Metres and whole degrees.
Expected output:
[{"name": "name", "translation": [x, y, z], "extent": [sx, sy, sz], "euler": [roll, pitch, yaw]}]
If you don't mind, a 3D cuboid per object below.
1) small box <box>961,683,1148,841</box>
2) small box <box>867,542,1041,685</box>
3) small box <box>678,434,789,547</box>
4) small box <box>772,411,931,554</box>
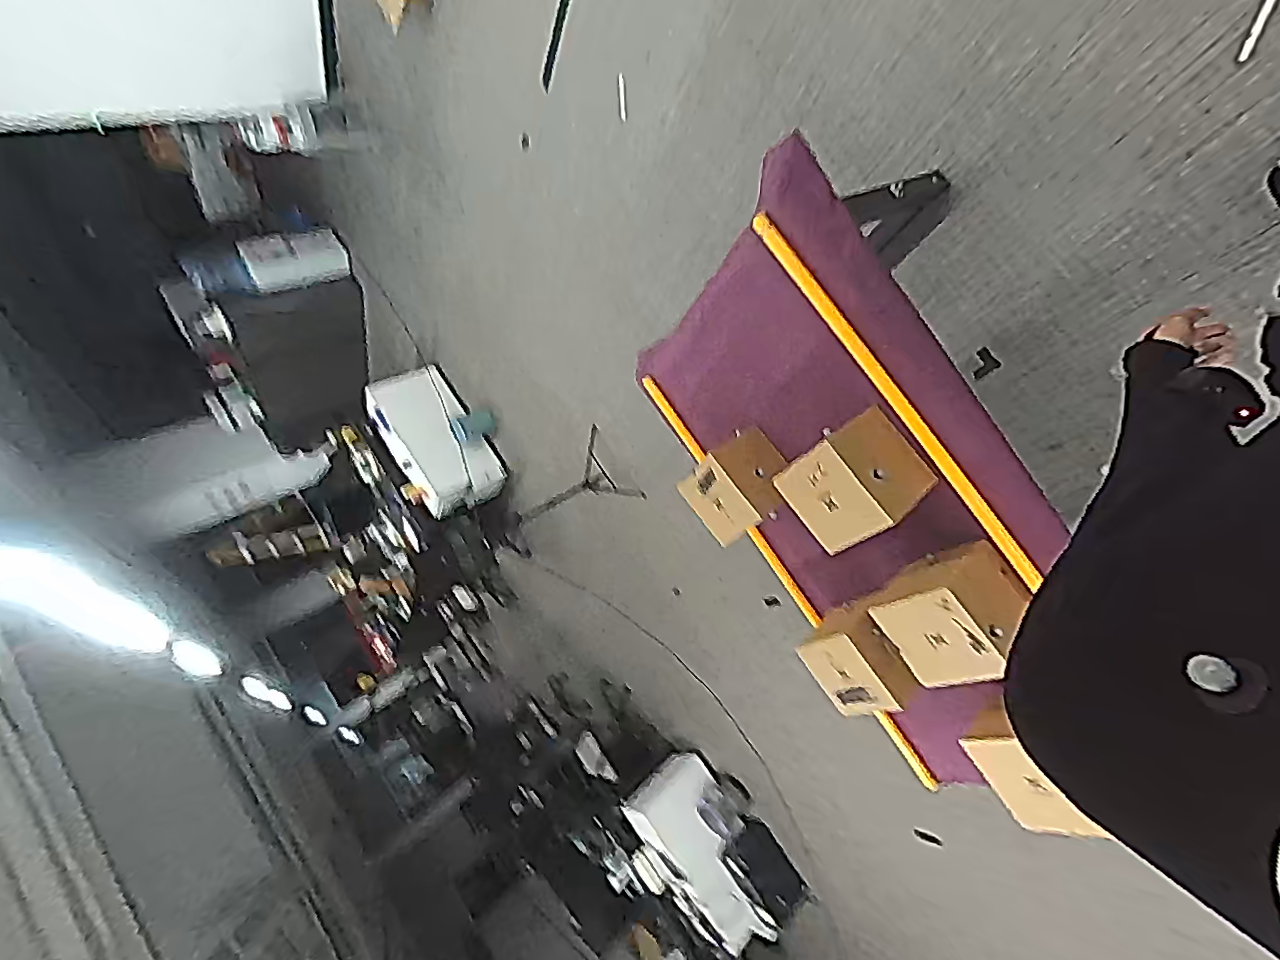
[{"name": "small box", "translation": [0.704, 0.467, 0.924], "extent": [0.179, 0.176, 0.168], "euler": [55, 147, 10]}, {"name": "small box", "translation": [0.551, 0.235, 0.952], "extent": [0.168, 0.176, 0.179], "euler": [54, 147, 8]}, {"name": "small box", "translation": [0.225, 0.015, 1.220], "extent": [0.179, 0.176, 0.168], "euler": [53, 146, 10]}, {"name": "small box", "translation": [0.387, 0.003, 0.990], "extent": [0.179, 0.176, 0.168], "euler": [54, 148, 9]}]
